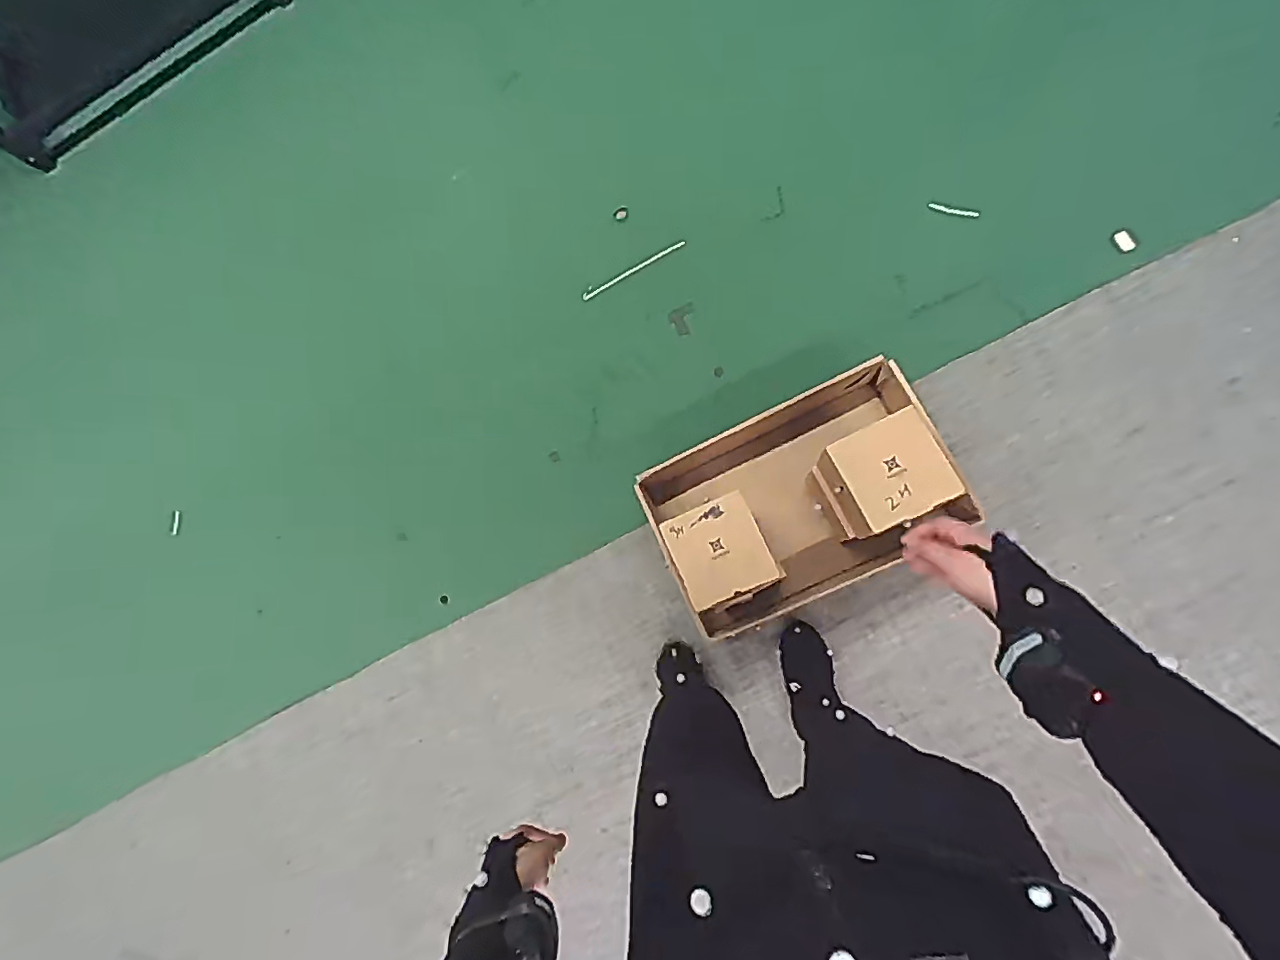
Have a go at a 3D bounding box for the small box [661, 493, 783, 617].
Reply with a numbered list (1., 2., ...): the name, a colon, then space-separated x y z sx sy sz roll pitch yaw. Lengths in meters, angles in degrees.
1. small box: 0.159 0.141 1.030 0.168 0.176 0.179 -25 78 7

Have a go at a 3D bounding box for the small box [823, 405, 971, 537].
1. small box: 0.453 -0.006 0.991 0.168 0.176 0.179 -27 77 8
